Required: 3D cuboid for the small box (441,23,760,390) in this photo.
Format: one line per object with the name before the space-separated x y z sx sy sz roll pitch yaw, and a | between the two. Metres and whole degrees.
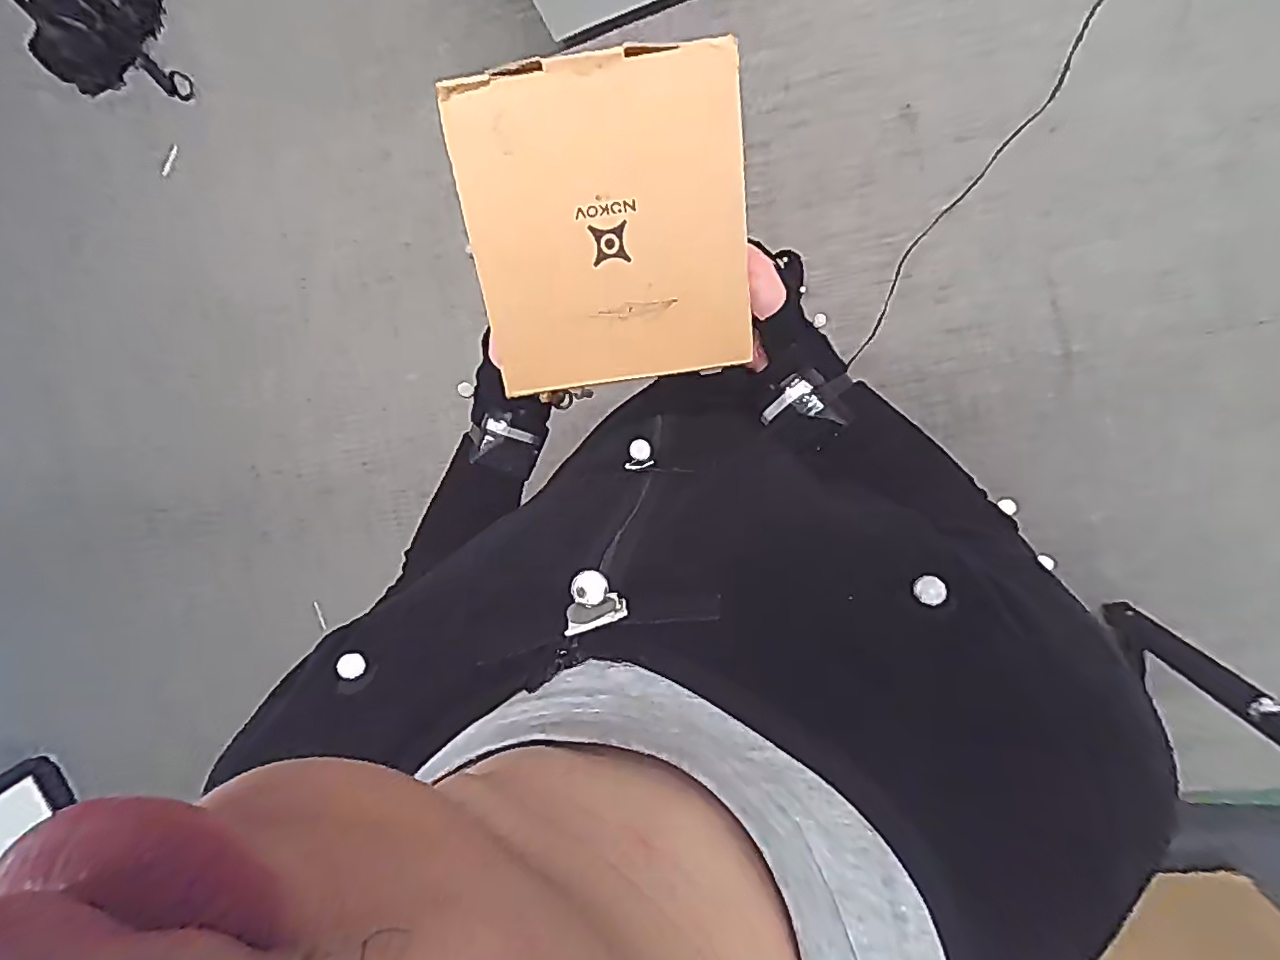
small box | -0.017 -0.180 0.390 0.168 0.176 0.179 -9 114 3
